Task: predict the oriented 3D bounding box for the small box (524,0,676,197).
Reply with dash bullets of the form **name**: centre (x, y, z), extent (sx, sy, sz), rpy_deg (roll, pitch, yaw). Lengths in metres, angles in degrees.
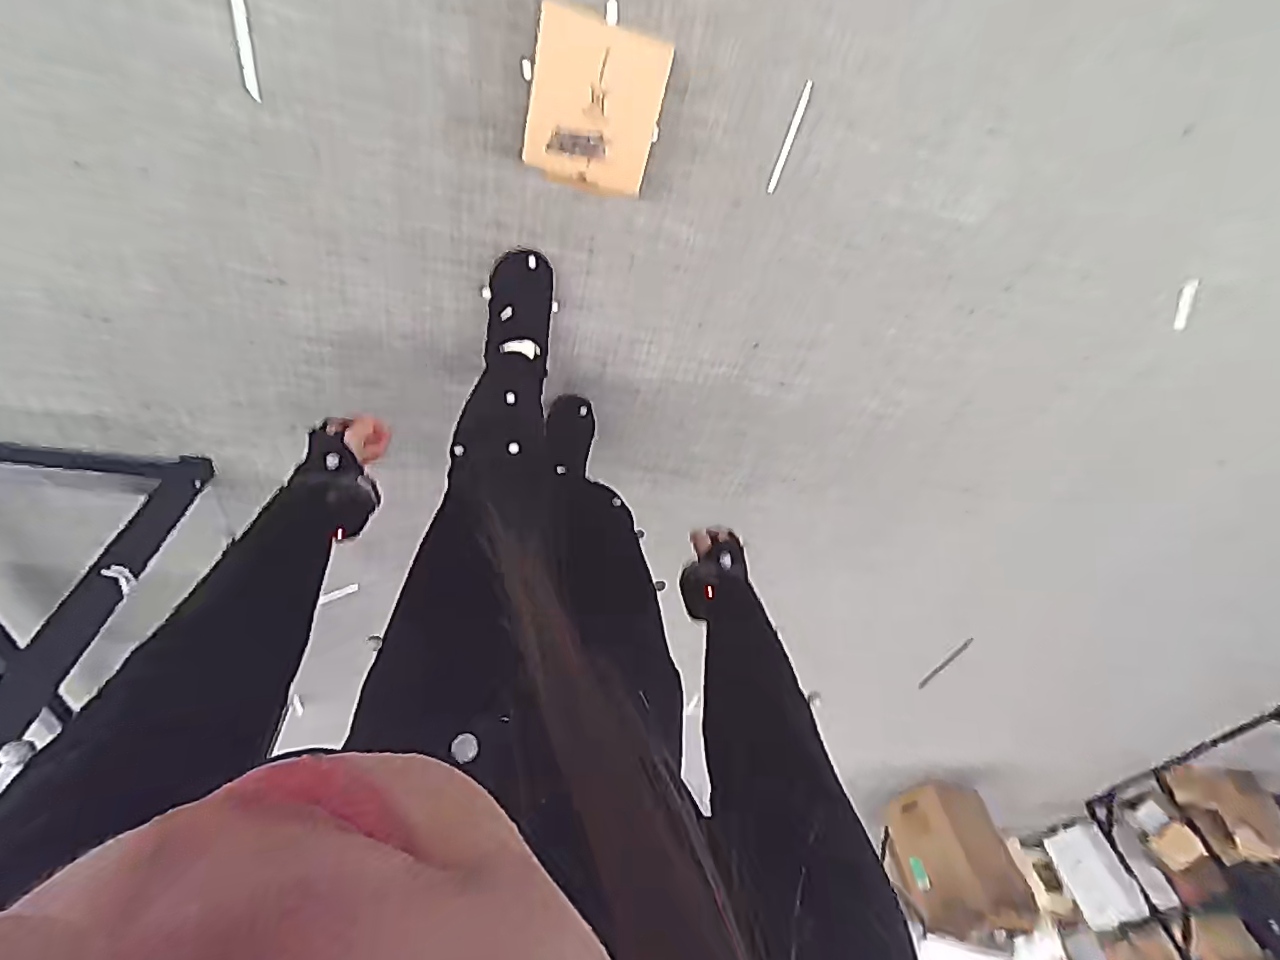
- **small box**: centre (-0.064, -0.531, 0.755), extent (0.168, 0.176, 0.179), rpy_deg (8, 129, -16)
